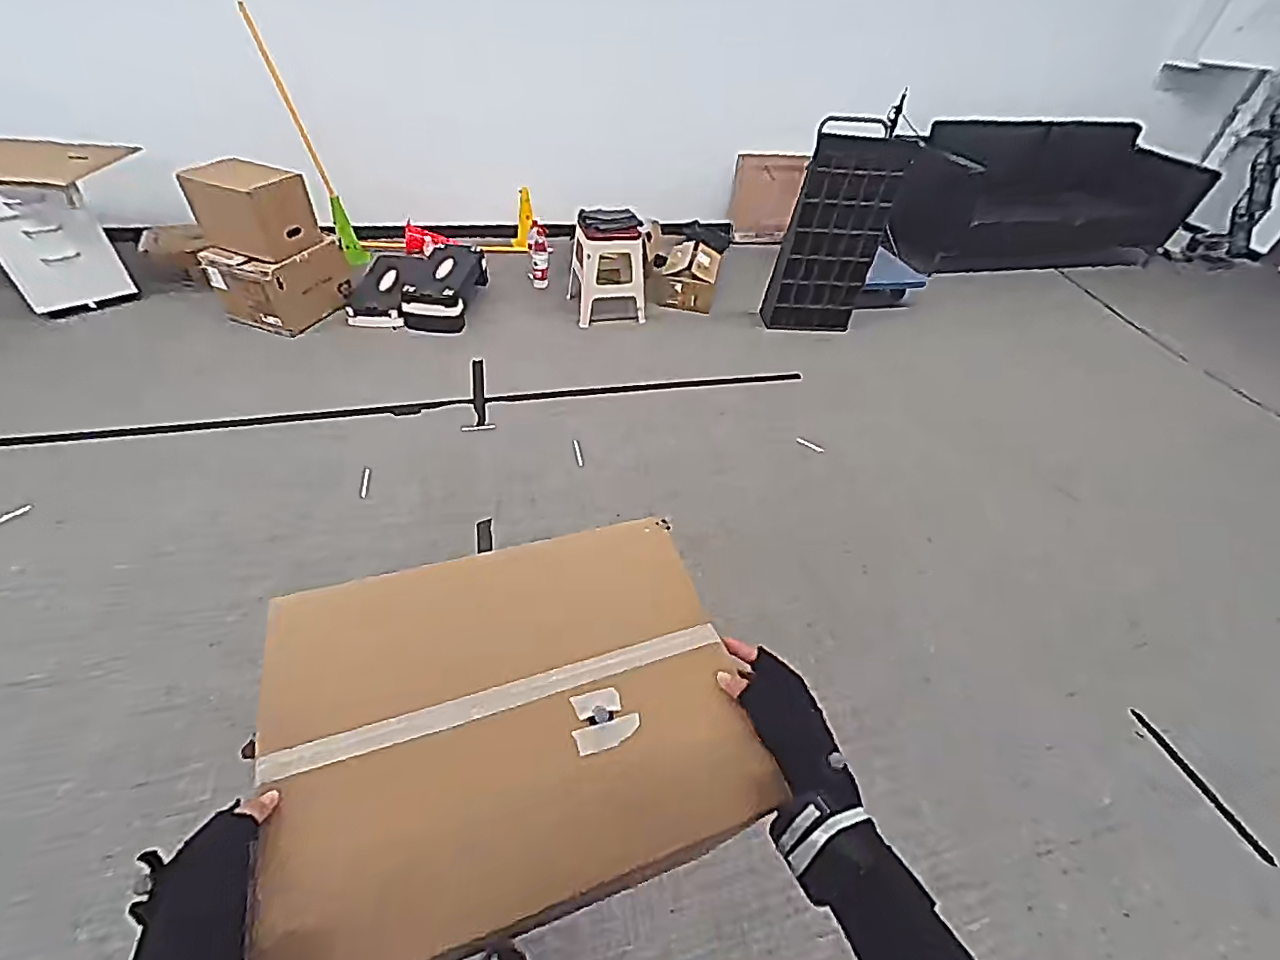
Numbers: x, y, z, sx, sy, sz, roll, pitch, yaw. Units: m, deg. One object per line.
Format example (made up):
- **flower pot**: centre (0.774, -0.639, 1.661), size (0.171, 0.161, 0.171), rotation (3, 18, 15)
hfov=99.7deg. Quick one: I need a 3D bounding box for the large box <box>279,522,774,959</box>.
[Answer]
- **large box**: centre (-0.131, 0.298, 0.619), size (0.408, 0.320, 0.320), rotation (-11, 53, -19)
